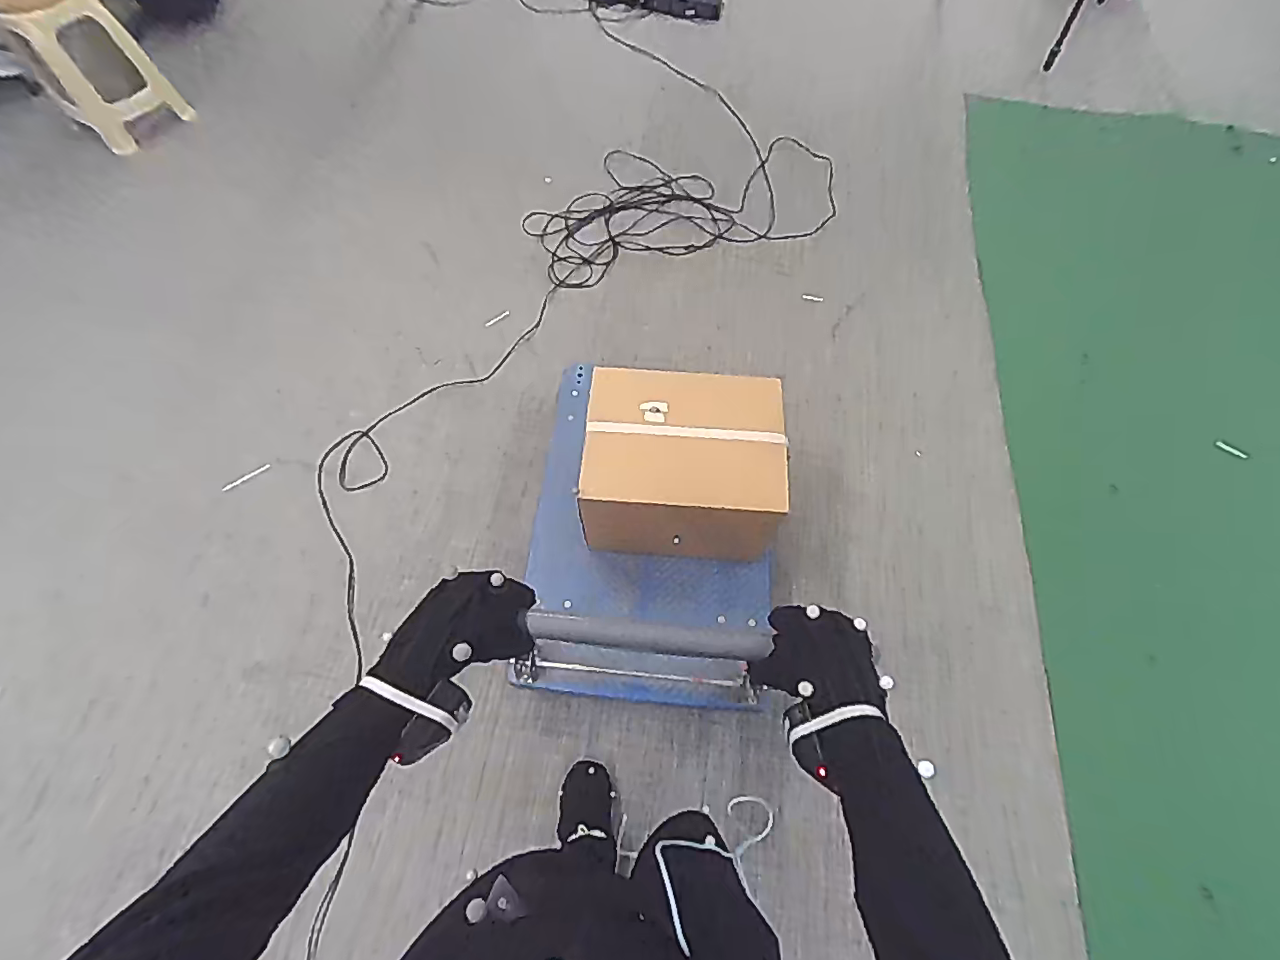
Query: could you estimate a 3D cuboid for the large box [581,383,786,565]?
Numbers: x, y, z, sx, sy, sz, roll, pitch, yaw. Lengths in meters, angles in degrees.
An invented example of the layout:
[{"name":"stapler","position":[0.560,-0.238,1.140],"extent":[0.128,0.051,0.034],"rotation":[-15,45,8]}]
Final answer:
[{"name":"large box","position":[0.093,-0.002,1.238],"extent":[0.408,0.320,0.320],"rotation":[3,63,2]}]
